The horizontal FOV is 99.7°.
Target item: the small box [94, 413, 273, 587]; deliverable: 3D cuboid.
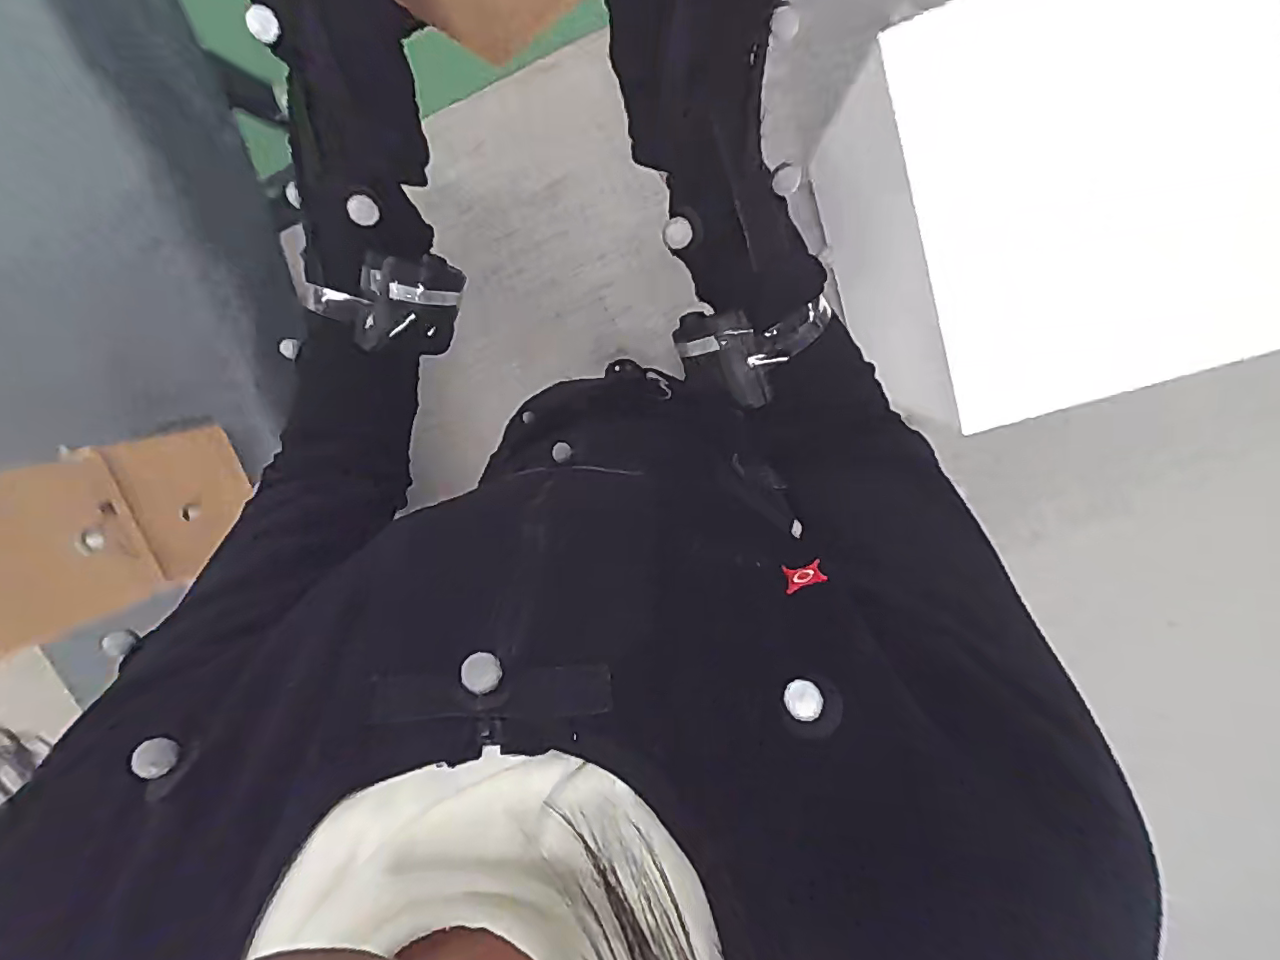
[{"bbox_3d":[-0.638,0.026,0.713,0.168,0.176,0.179,-14,104,13],"label":"small box"}]
